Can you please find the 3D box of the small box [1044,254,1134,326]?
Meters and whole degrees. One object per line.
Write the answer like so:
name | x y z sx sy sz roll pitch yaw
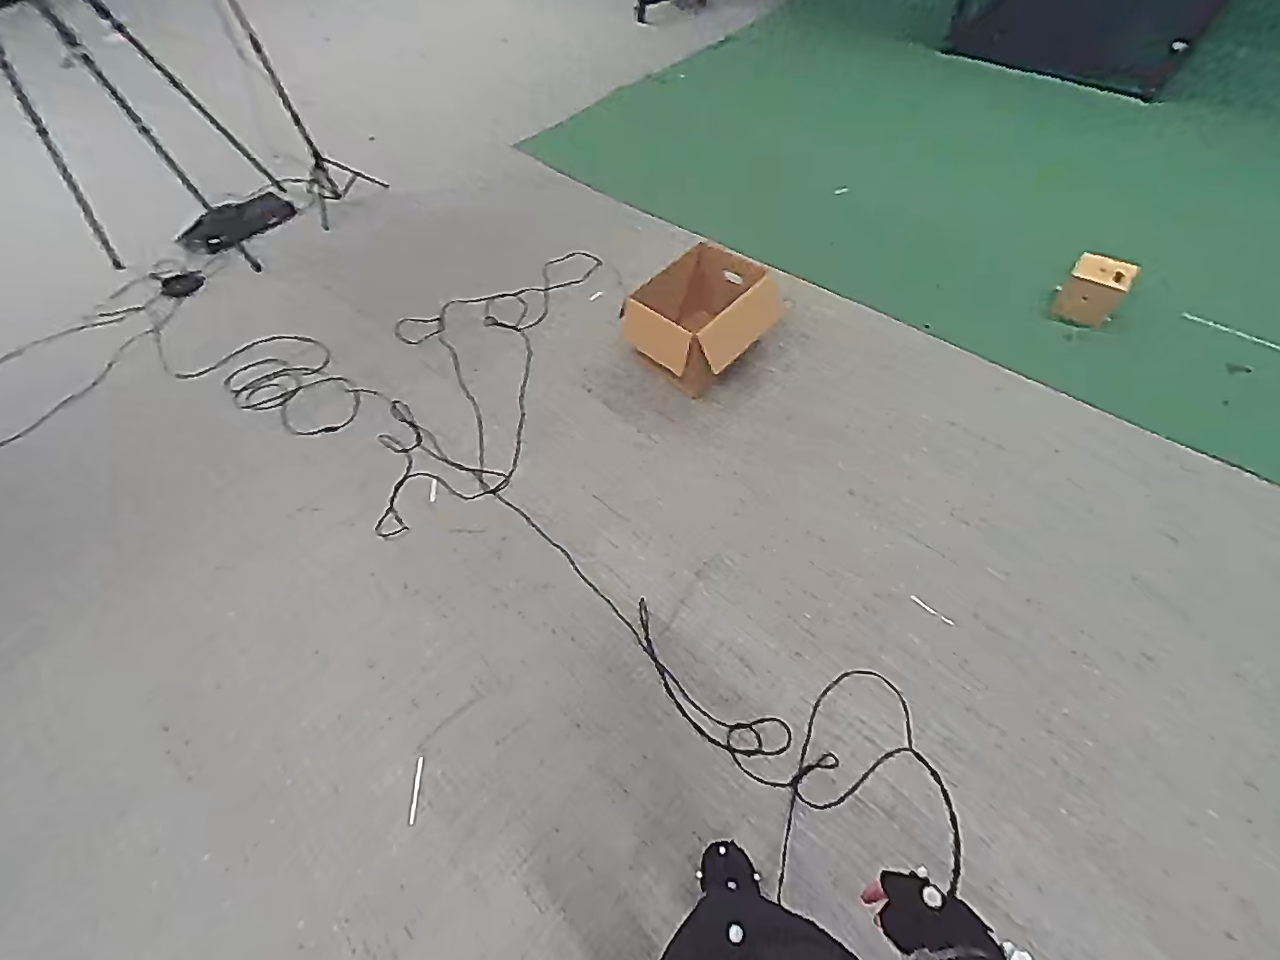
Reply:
small box | 1.652 -0.696 1.998 0.179 0.176 0.168 33 64 25
